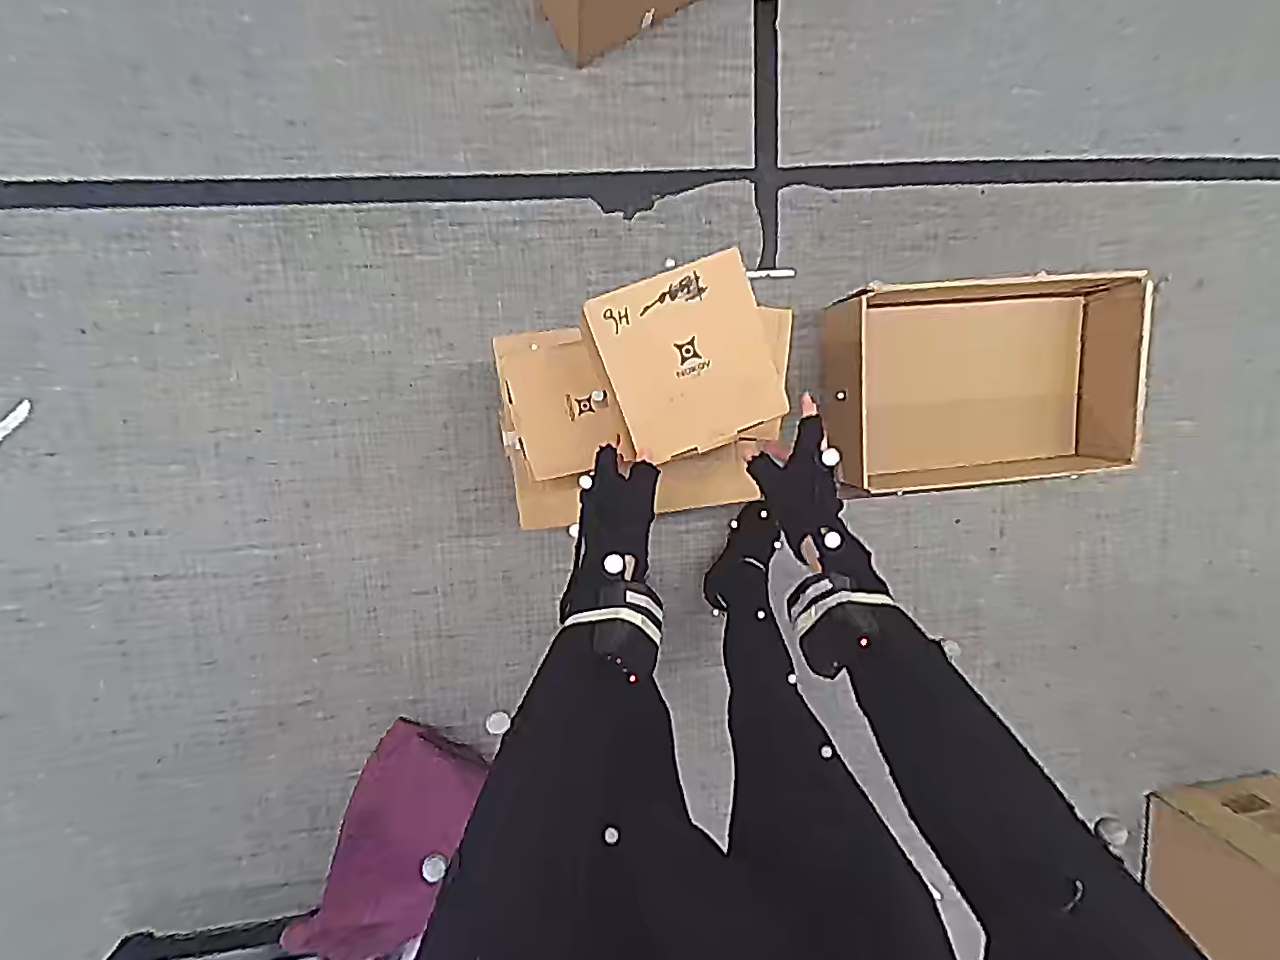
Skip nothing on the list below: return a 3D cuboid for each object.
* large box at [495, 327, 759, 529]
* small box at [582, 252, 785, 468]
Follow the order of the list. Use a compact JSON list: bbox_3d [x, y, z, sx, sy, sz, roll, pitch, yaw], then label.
[{"bbox_3d":[-0.031,-0.116,1.025,0.408,0.320,0.320,-8,99,-7],"label":"large box"},{"bbox_3d":[0.039,-0.131,0.620,0.168,0.176,0.179,-21,100,-4],"label":"small box"}]
